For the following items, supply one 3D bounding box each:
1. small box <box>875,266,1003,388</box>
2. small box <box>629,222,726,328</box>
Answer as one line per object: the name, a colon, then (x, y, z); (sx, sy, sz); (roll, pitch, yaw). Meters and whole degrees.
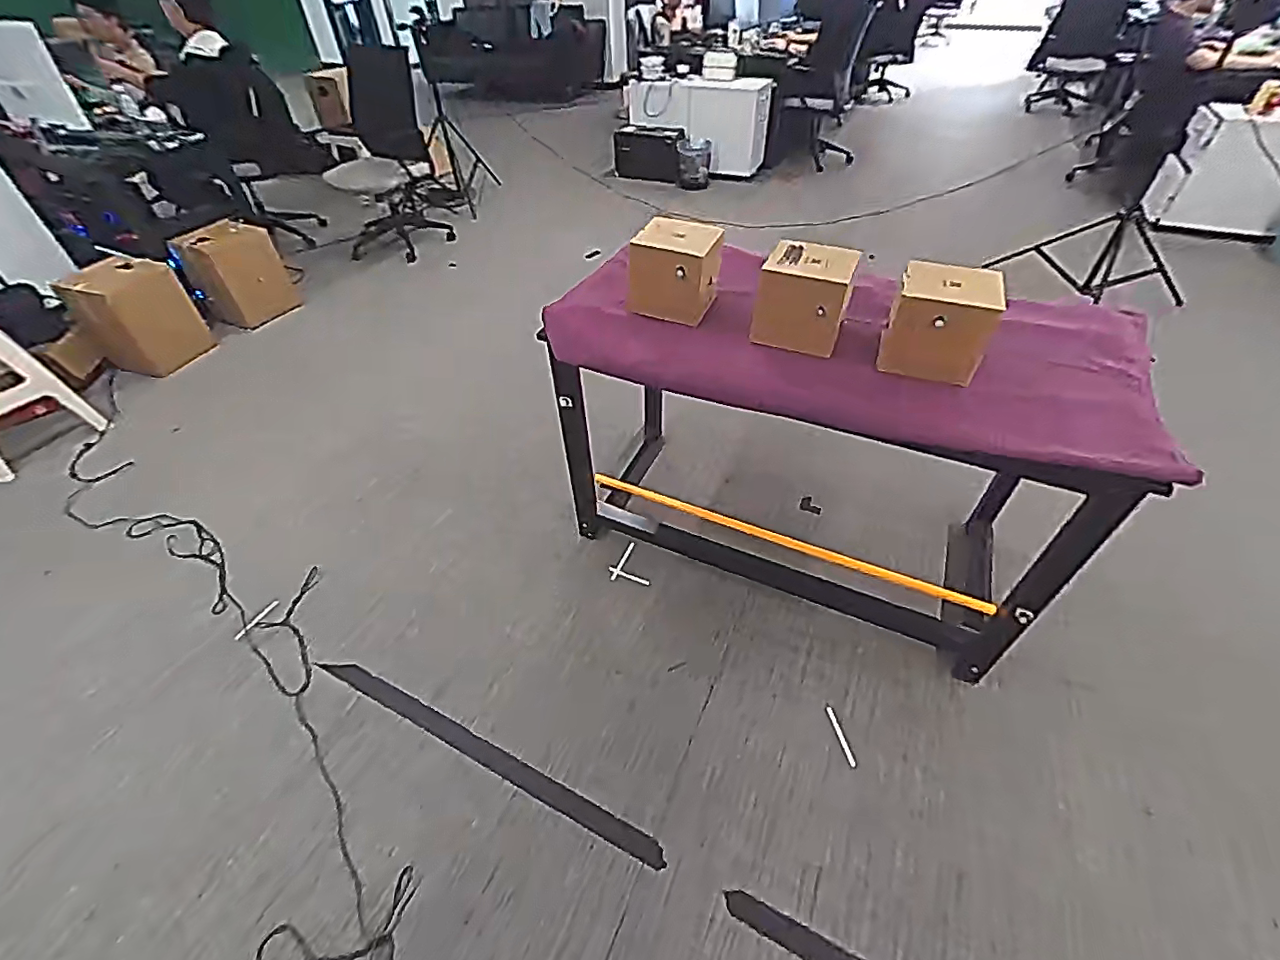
small box: (0.595, -0.305, 1.087); (0.179, 0.176, 0.168); (16, 47, 18)
small box: (0.085, -0.479, 1.271); (0.179, 0.176, 0.168); (18, 47, 15)
